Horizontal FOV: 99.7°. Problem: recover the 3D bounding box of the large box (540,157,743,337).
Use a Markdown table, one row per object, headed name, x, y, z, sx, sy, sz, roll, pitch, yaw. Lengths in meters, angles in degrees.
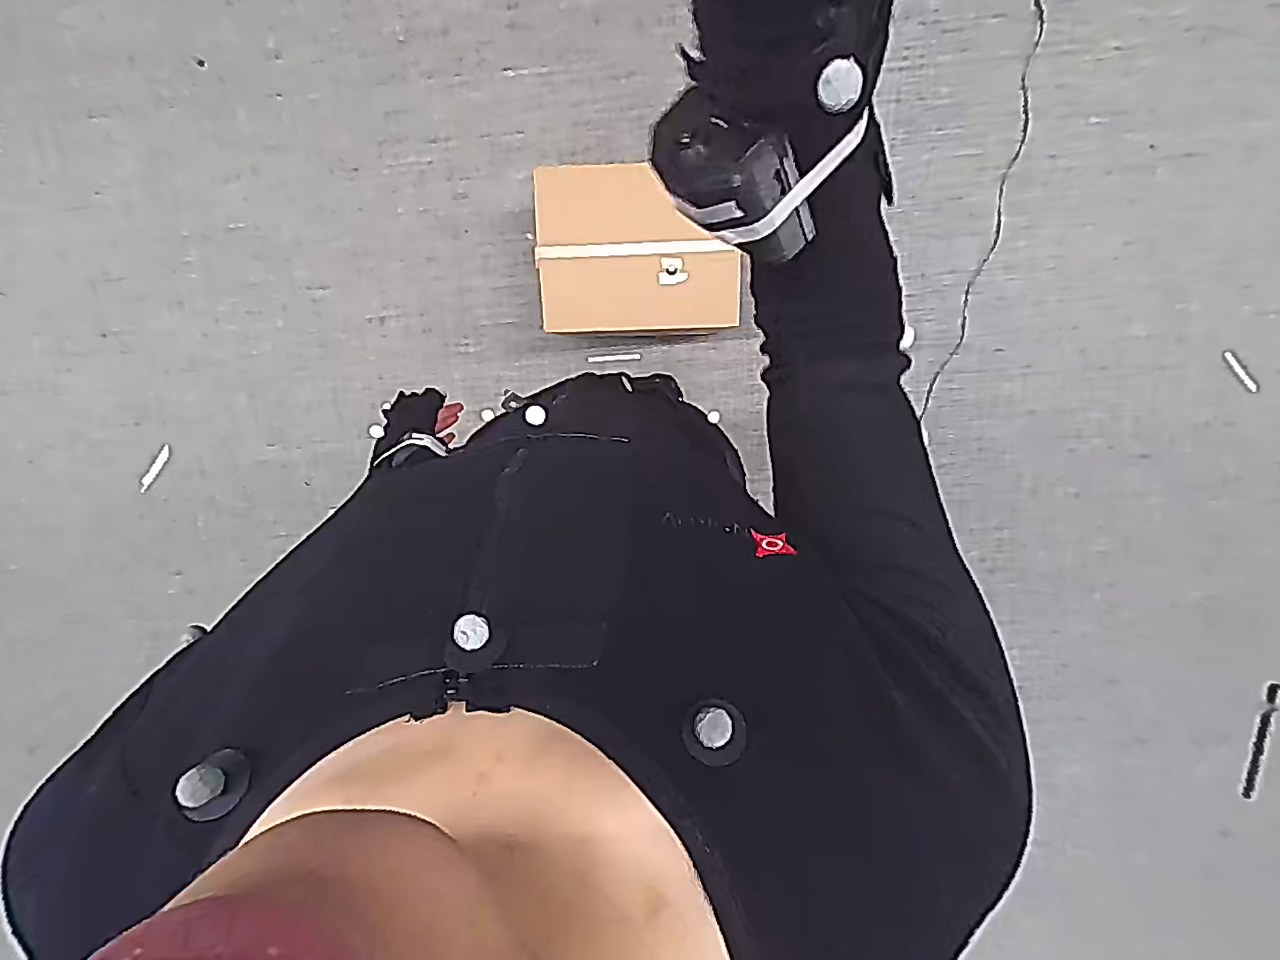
| name | x | y | z | sx | sy | sz | roll | pitch | yaw |
| --- | --- | --- | --- | --- | --- | --- | --- | --- | --- |
| large box | 0.009 | -0.500 | 1.230 | 0.408 | 0.320 | 0.320 | -1 | 103 | 2 |
